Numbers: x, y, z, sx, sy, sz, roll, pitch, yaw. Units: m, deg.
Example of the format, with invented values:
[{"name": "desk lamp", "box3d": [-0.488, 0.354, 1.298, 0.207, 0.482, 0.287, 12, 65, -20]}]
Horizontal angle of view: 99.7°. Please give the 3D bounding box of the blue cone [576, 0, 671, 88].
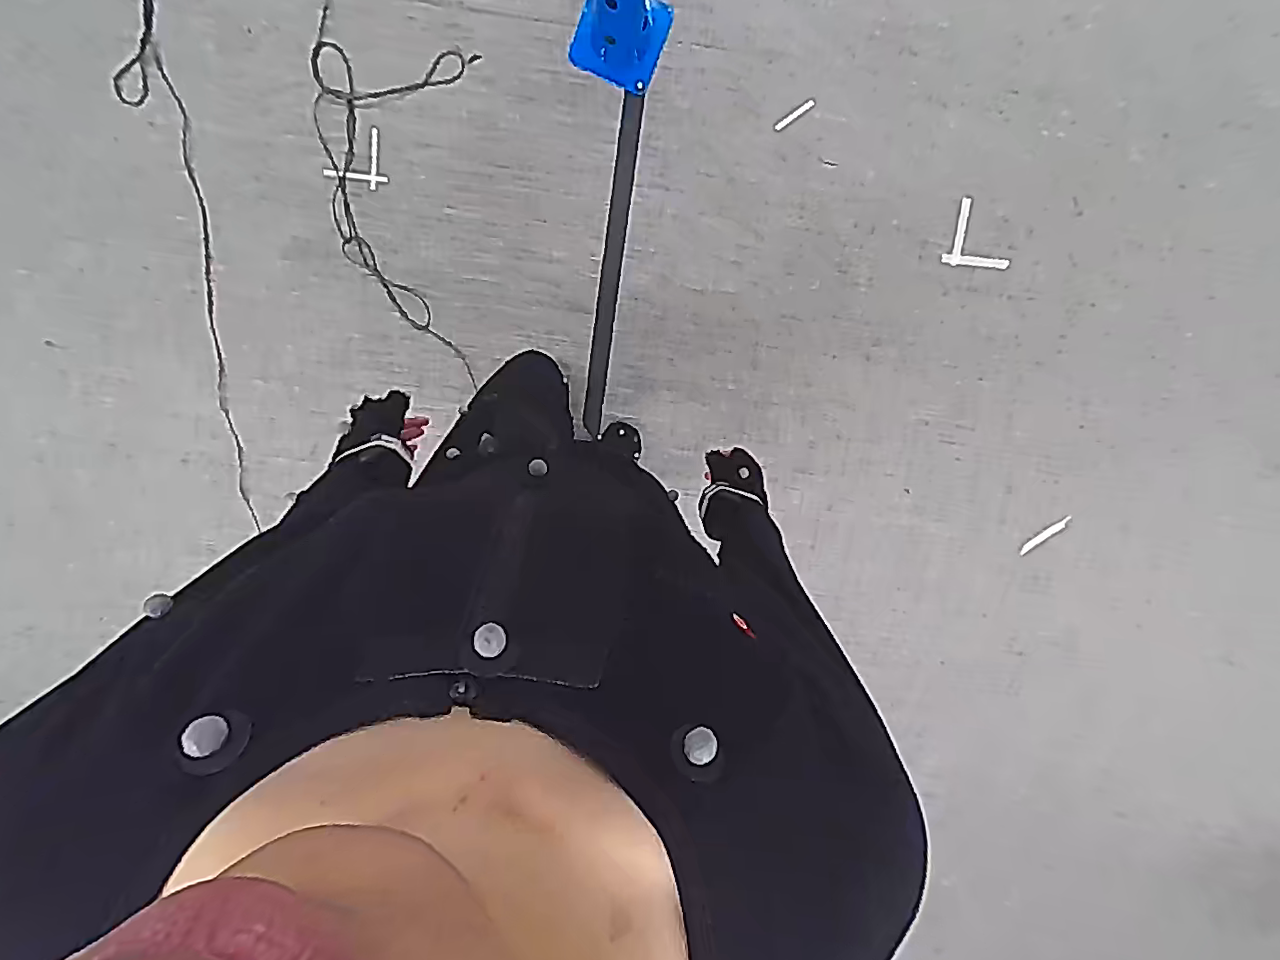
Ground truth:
[{"name": "blue cone", "box3d": [-0.034, -1.006, 1.094, 0.192, 0.380, 0.193, 23, 100, -7]}]
